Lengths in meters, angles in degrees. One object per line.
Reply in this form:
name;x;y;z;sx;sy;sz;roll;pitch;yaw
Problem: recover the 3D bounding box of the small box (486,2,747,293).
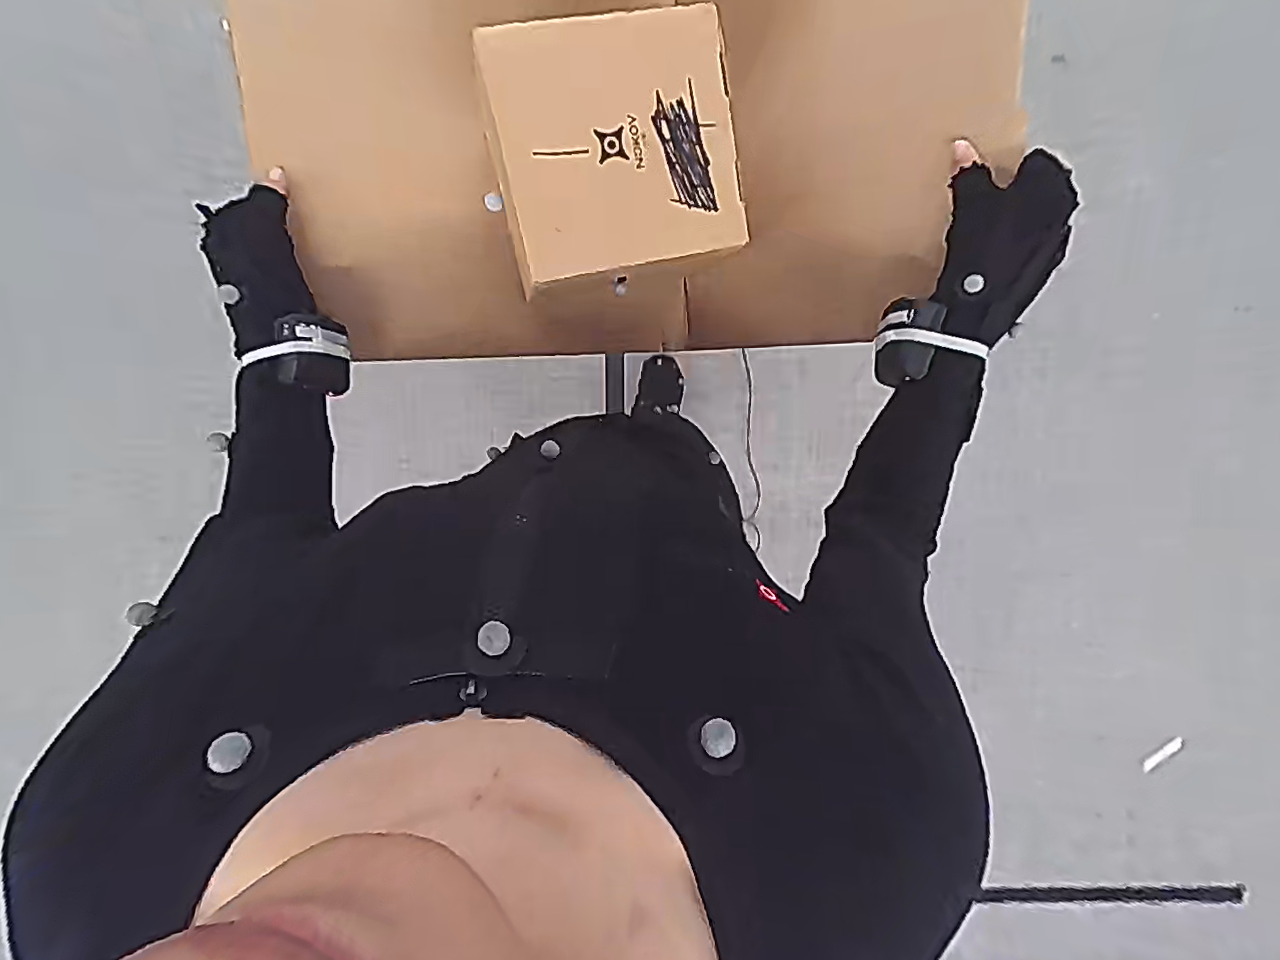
small box;-0.027;-0.272;0.479;0.179;0.176;0.168;-14;104;-9
